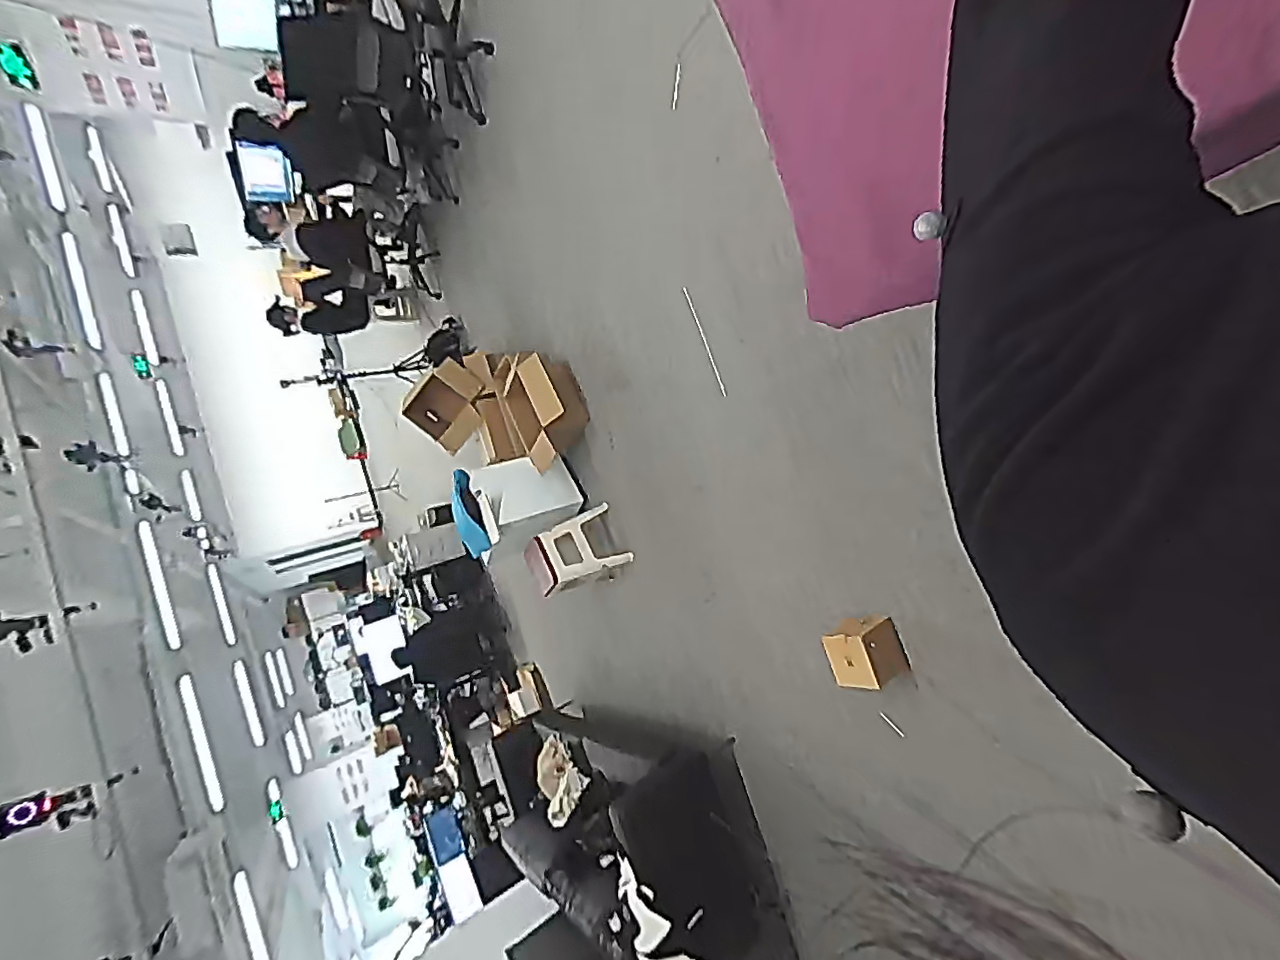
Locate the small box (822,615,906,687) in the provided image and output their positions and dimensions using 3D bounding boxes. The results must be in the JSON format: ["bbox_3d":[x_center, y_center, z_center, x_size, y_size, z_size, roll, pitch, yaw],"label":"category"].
[{"bbox_3d":[0.744,0.561,1.792,0.168,0.176,0.179,-26,82,57],"label":"small box"}]
